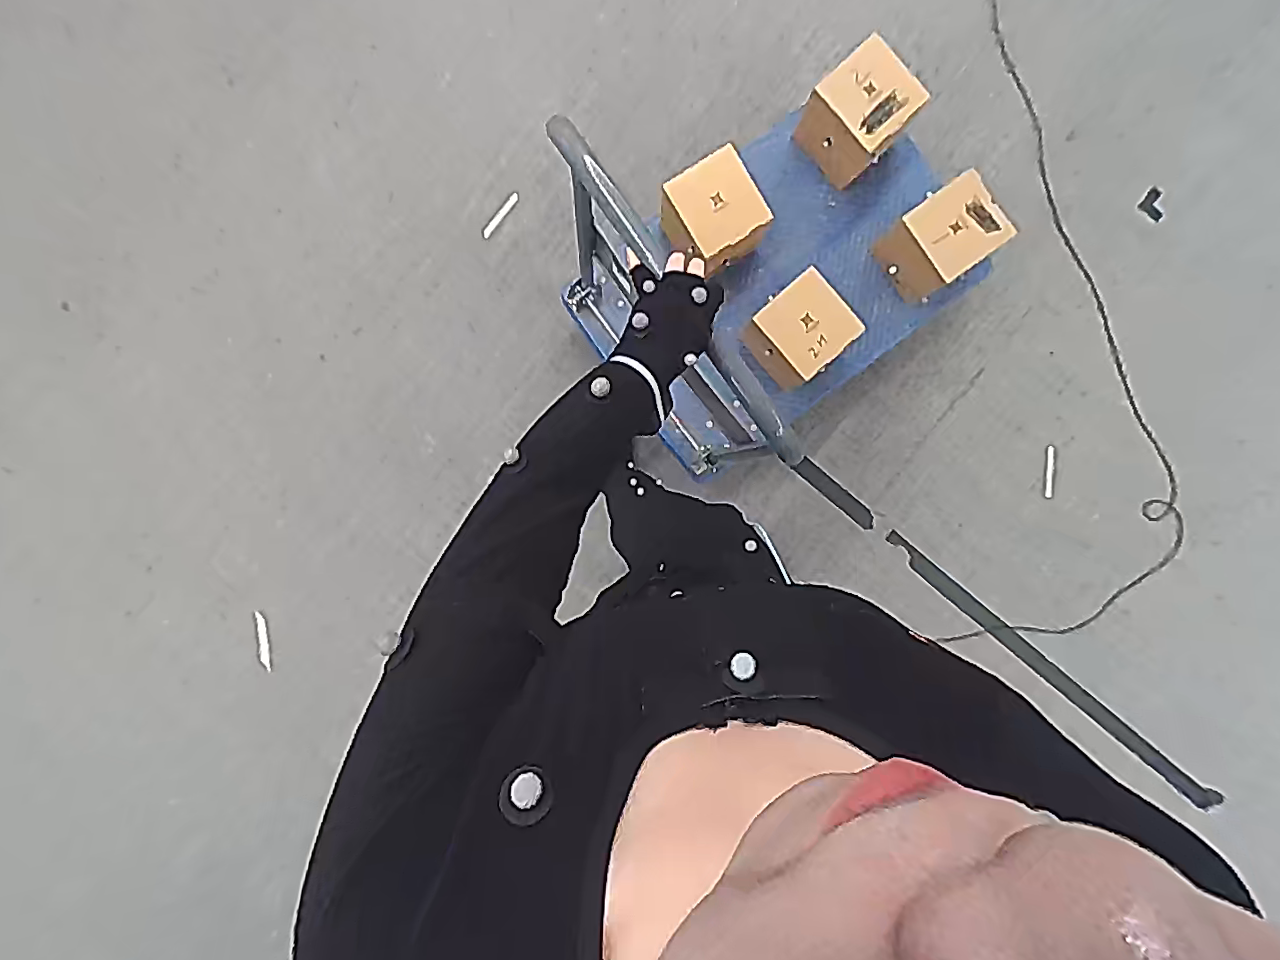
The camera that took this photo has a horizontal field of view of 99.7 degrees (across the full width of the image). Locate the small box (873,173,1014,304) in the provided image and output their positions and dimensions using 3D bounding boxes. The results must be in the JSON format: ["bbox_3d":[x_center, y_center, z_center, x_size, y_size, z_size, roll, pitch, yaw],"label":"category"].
[{"bbox_3d":[0.650,-0.516,1.180,0.179,0.176,0.168,-35,92,3],"label":"small box"}]

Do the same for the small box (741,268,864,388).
[{"bbox_3d":[0.345,-0.321,1.187,0.168,0.176,0.179,-40,92,2],"label":"small box"}]

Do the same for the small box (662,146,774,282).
[{"bbox_3d":[0.159,-0.567,1.177,0.168,0.176,0.179,-32,94,1],"label":"small box"}]
